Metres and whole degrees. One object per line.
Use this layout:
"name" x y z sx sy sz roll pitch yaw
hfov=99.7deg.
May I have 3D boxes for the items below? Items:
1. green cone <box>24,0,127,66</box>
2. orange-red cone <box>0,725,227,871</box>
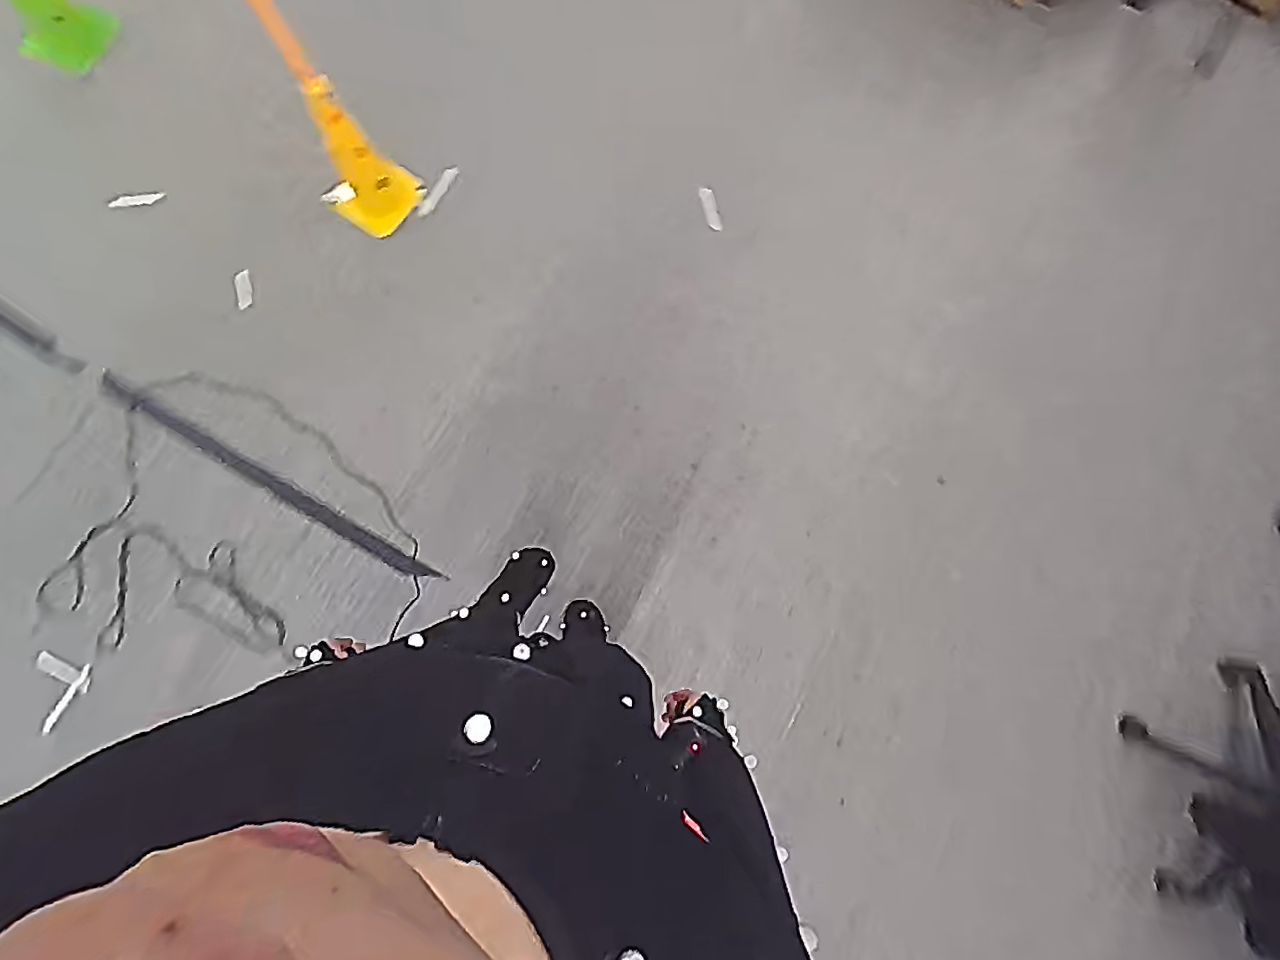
"green cone" -1.569 -1.301 1.357 0.202 0.368 0.200 21 80 -3
"orange-red cone" -1.056 0.652 1.059 0.198 0.360 0.199 26 78 0
